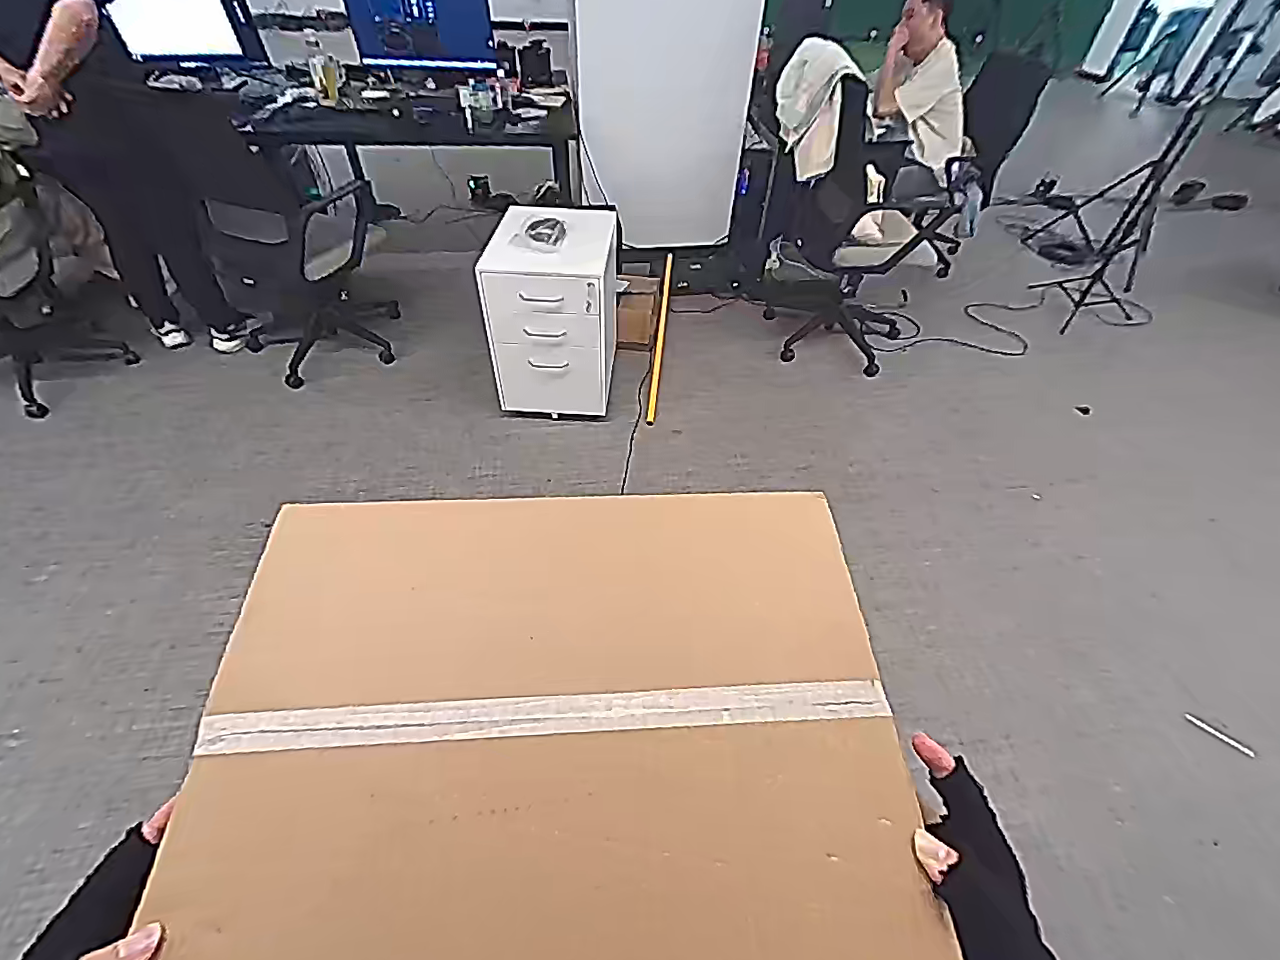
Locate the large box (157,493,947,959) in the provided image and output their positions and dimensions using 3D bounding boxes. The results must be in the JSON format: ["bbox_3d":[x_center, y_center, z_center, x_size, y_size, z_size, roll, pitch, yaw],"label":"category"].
[{"bbox_3d":[-0.055,0.228,0.463,0.408,0.320,0.320,-2,57,-4],"label":"large box"}]
